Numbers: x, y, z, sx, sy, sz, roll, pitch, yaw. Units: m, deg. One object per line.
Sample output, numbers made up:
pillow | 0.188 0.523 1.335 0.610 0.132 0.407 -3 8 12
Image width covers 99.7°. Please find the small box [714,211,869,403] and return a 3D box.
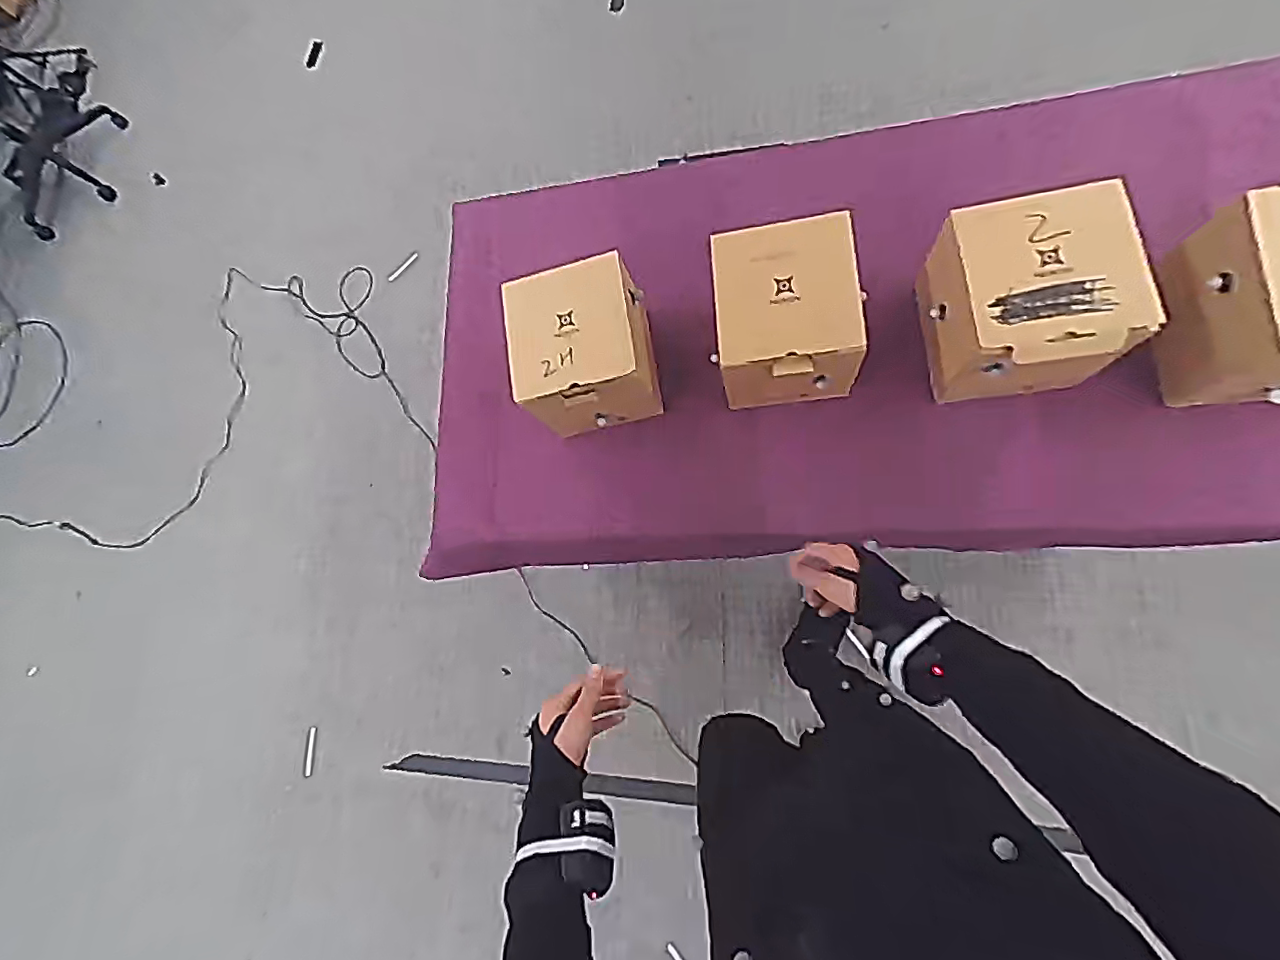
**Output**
small box | 0.190 -0.207 0.702 0.168 0.176 0.179 -5 78 12

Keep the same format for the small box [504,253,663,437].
small box | -0.072 -0.178 0.760 0.168 0.176 0.179 -12 77 12

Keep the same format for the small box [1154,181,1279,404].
small box | 0.698 -0.194 0.569 0.168 0.176 0.179 -4 79 14
